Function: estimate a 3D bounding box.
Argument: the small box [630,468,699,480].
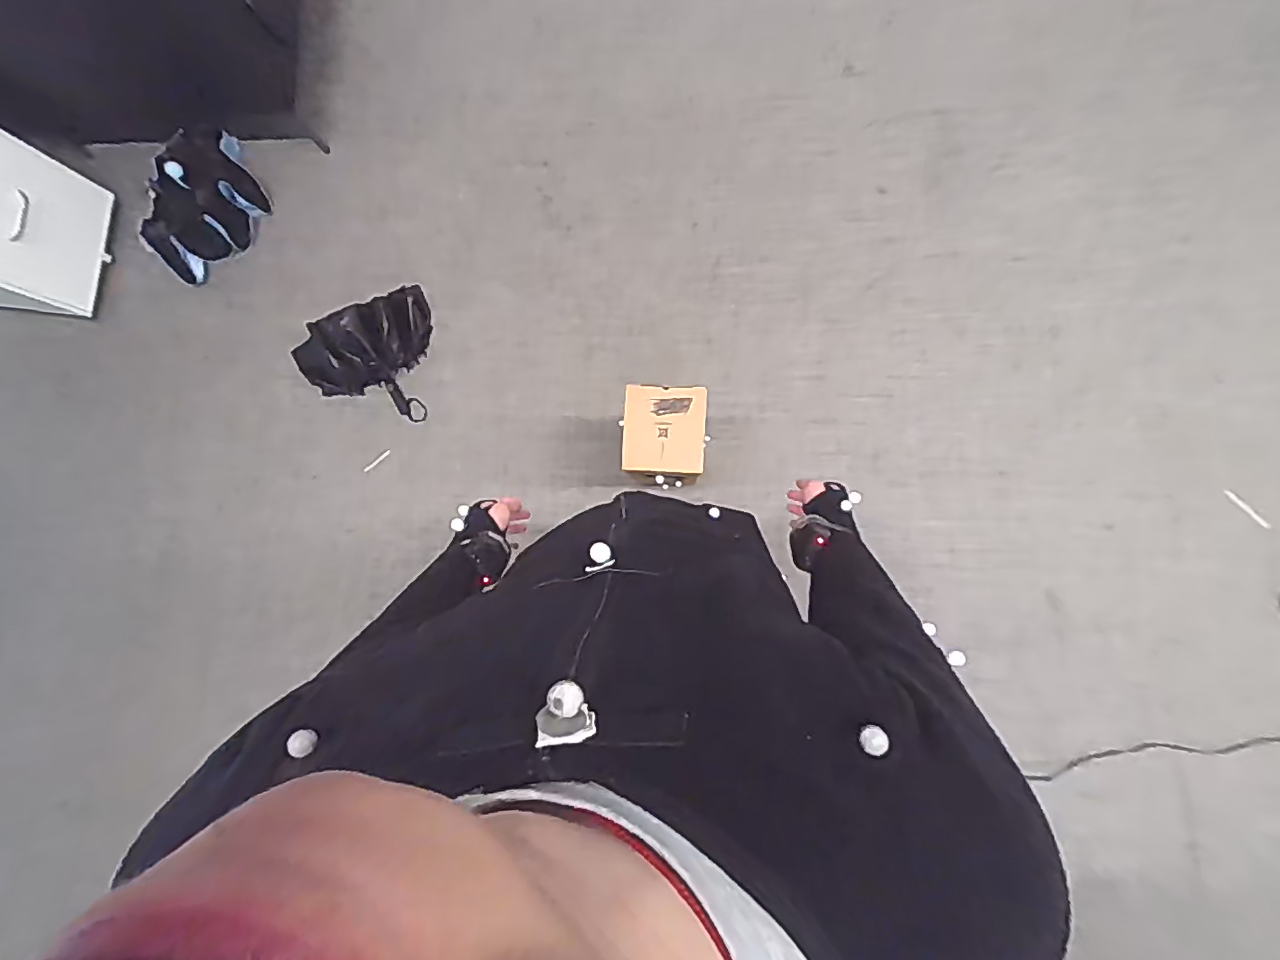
[{"bbox_3d":[0.067,-0.093,1.340,0.168,0.176,0.179,2,86,3],"label":"small box"}]

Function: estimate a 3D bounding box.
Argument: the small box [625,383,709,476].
[{"bbox_3d":[0.058,-0.104,1.176,0.168,0.176,0.179,2,88,4],"label":"small box"}]
